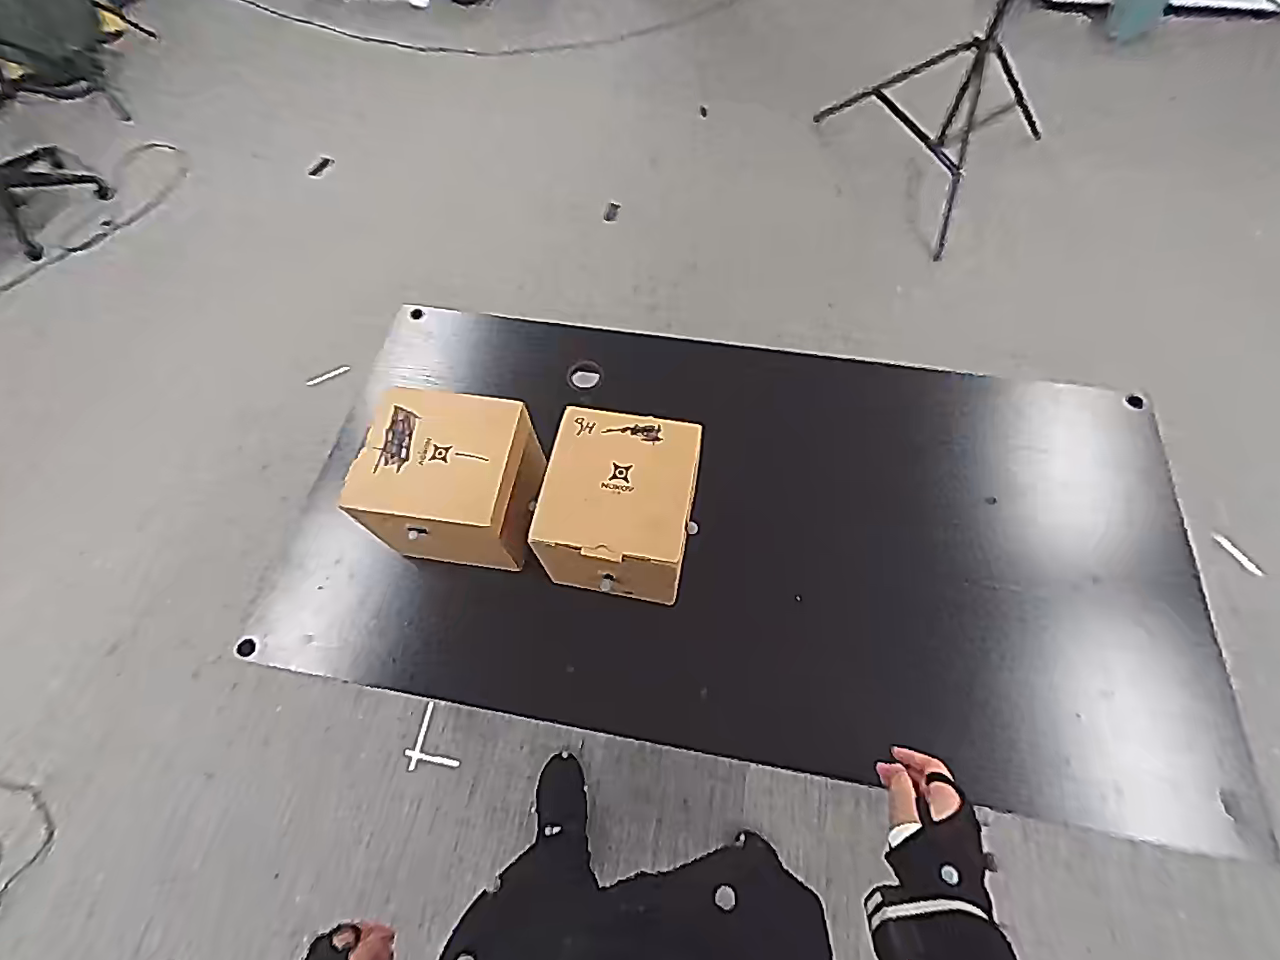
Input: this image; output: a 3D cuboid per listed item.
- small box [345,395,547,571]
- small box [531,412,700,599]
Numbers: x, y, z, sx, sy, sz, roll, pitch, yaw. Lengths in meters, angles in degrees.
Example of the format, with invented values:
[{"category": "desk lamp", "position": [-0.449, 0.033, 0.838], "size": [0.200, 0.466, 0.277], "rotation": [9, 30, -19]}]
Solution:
[{"category": "small box", "position": [-0.234, 0.011, 0.705], "size": [0.179, 0.176, 0.168], "rotation": [7, 64, 4]}, {"category": "small box", "position": [-0.021, 0.040, 0.683], "size": [0.168, 0.176, 0.179], "rotation": [9, 65, 5]}]
